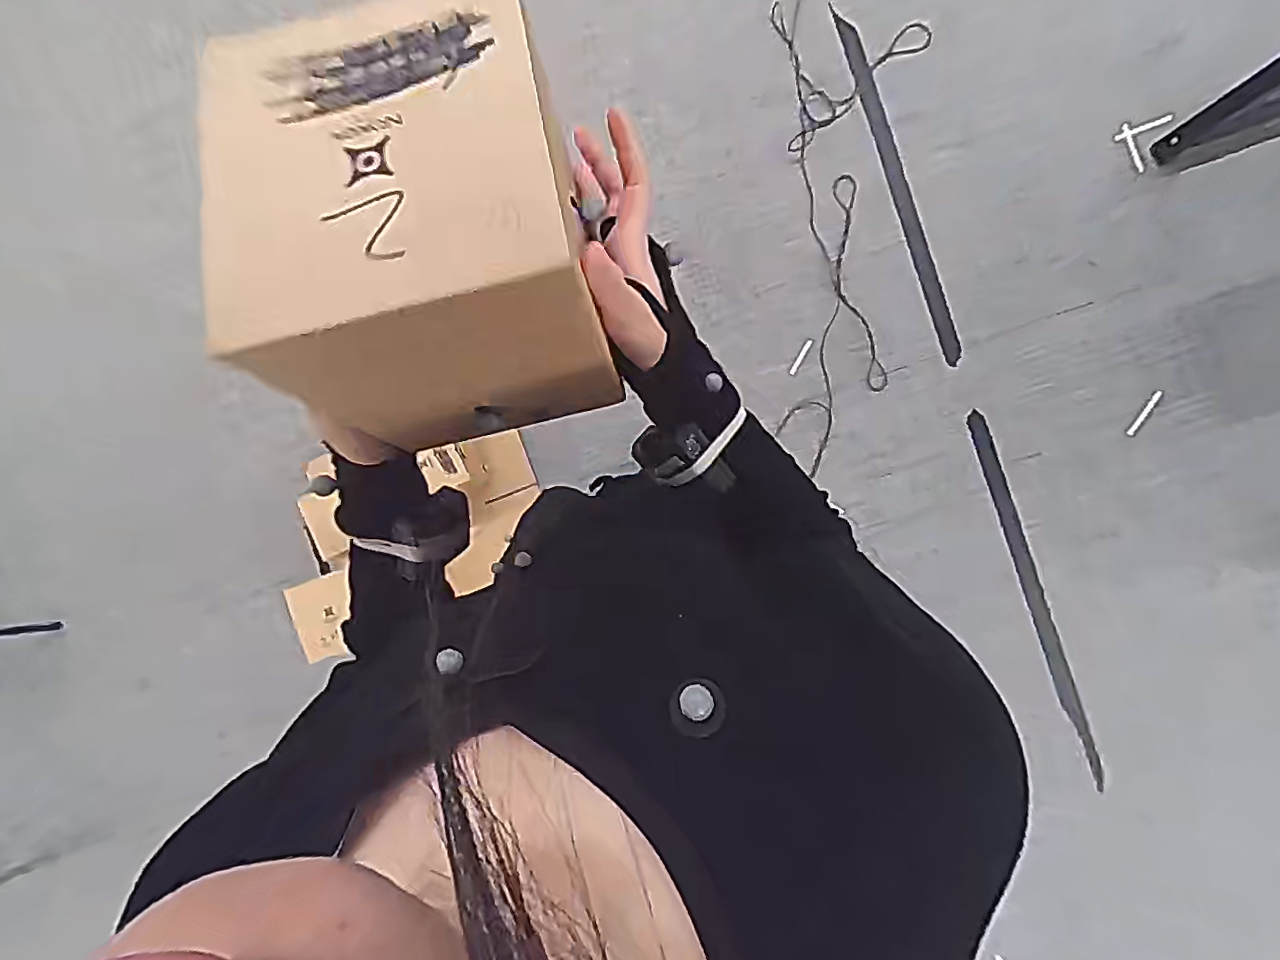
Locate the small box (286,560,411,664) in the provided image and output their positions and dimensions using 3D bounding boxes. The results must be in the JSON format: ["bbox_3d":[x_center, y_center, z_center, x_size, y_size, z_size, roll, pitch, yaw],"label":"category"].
[{"bbox_3d":[-0.668,0.296,1.258,0.168,0.176,0.179,-21,89,4],"label":"small box"}]

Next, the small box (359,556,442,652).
[{"bbox_3d":[-0.652,0.319,1.423,0.168,0.176,0.179,-25,90,2],"label":"small box"}]

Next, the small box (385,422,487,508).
[{"bbox_3d":[-0.522,-0.039,1.419,0.179,0.176,0.168,-24,89,3],"label":"small box"}]

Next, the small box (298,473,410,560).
[{"bbox_3d":[-0.748,0.093,1.432,0.168,0.176,0.179,-25,89,3],"label":"small box"}]
